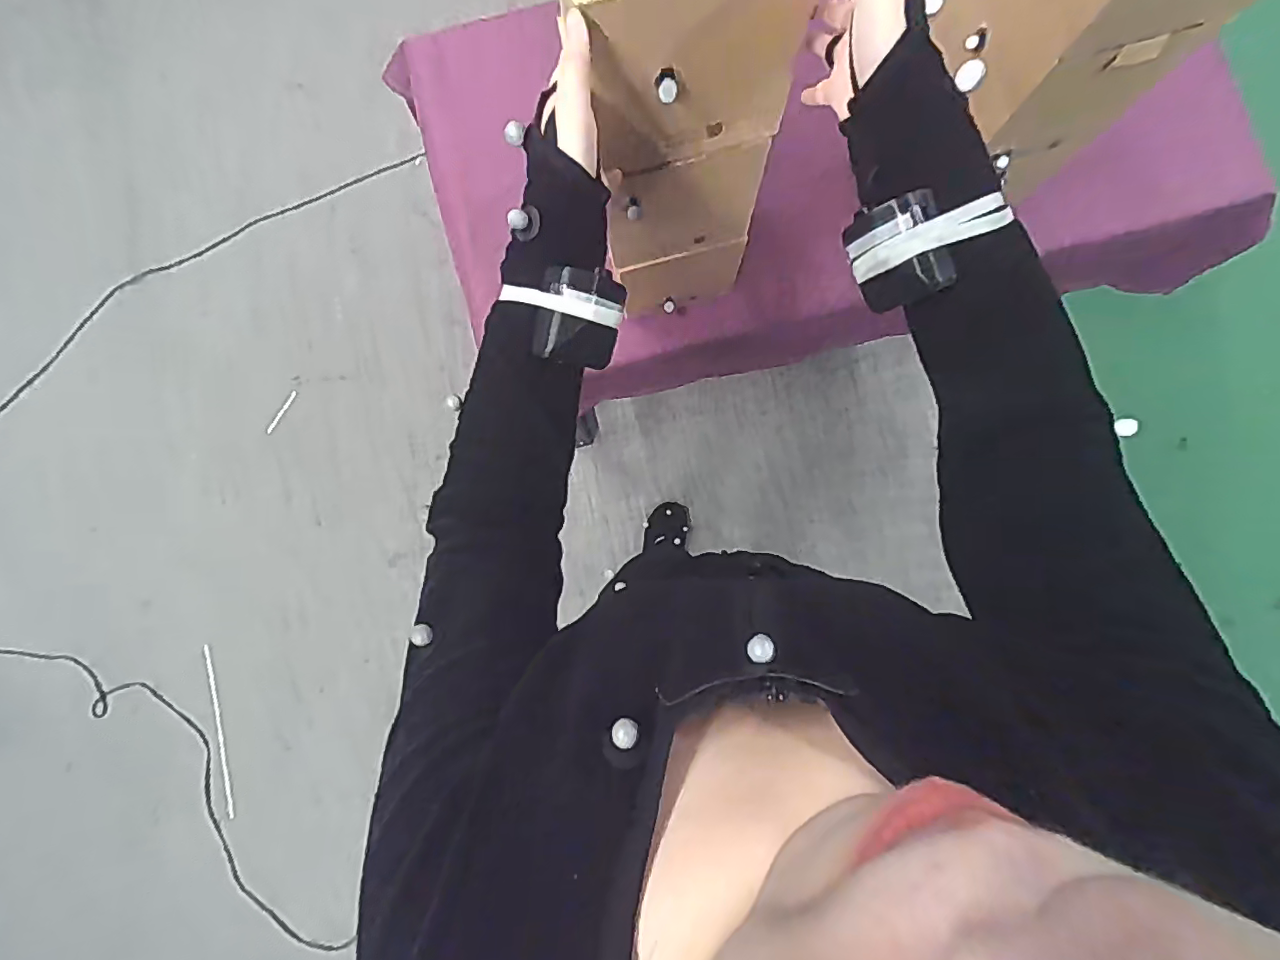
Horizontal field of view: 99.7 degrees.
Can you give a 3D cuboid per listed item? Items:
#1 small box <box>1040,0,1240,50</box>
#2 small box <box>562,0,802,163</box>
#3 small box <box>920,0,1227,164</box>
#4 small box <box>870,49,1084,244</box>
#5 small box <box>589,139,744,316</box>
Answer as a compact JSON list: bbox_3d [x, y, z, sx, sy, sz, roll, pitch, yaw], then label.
[{"bbox_3d":[0.432,-0.480,0.411,0.179,0.176,0.168,-14,87,1],"label":"small box"},{"bbox_3d":[0.022,-0.383,0.421,0.168,0.176,0.179,-13,84,2],"label":"small box"},{"bbox_3d":[0.435,-0.473,0.575,0.168,0.176,0.179,-15,85,1],"label":"small box"},{"bbox_3d":[0.440,-0.460,0.739,0.168,0.176,0.179,-14,85,2],"label":"small box"},{"bbox_3d":[0.033,-0.353,0.747,0.168,0.176,0.179,-13,86,2],"label":"small box"}]
